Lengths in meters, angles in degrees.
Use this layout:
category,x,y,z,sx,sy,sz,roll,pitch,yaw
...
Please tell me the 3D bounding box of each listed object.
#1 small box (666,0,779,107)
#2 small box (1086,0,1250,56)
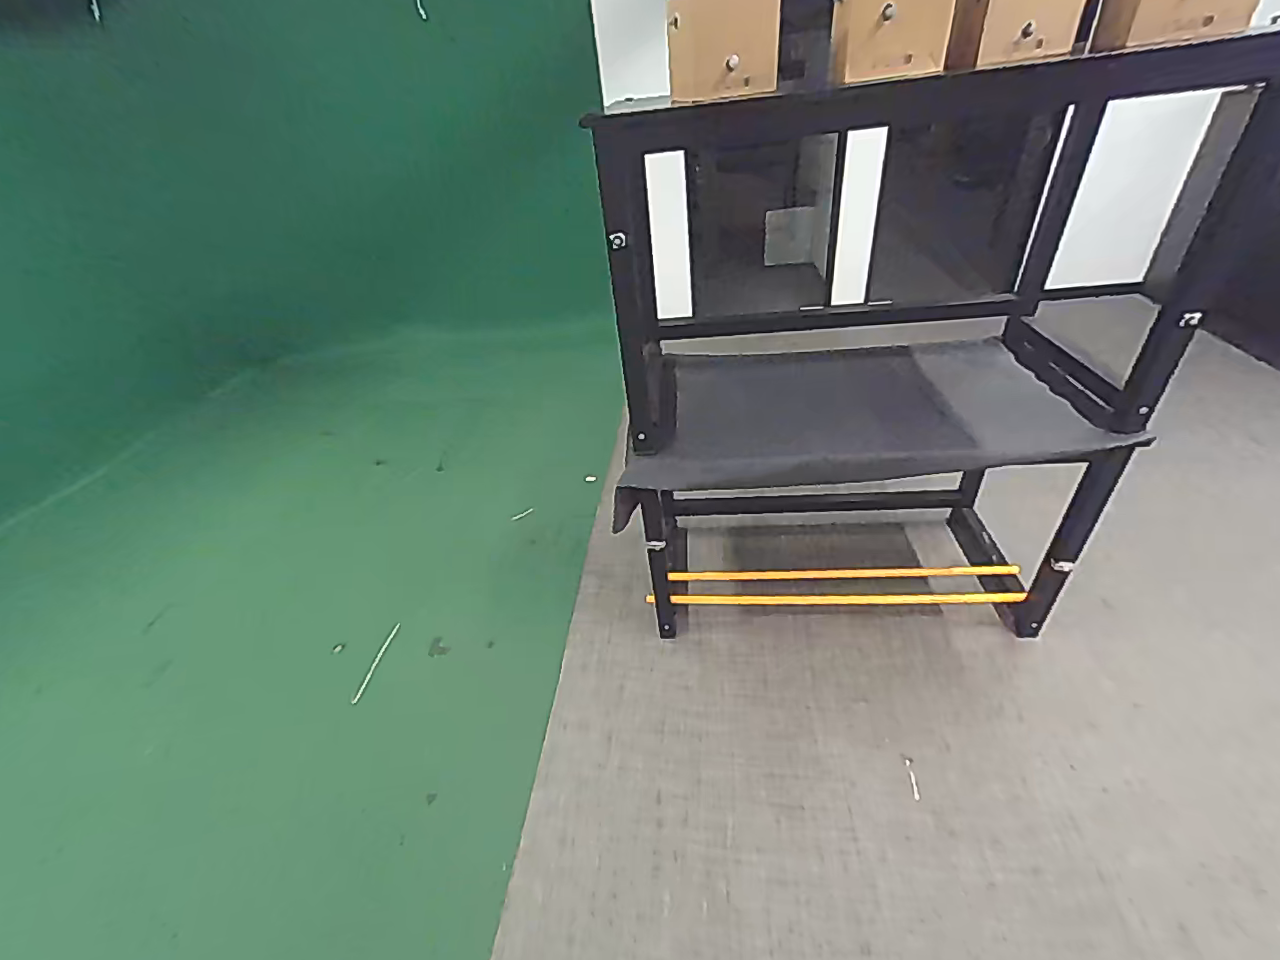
category,x,y,z,sx,sy,sz,roll,pitch,yaw
small box,0.150,-0.819,1.028,0.168,0.176,0.179,-11,38,-5
small box,0.908,-0.837,0.916,0.168,0.176,0.179,5,38,16
